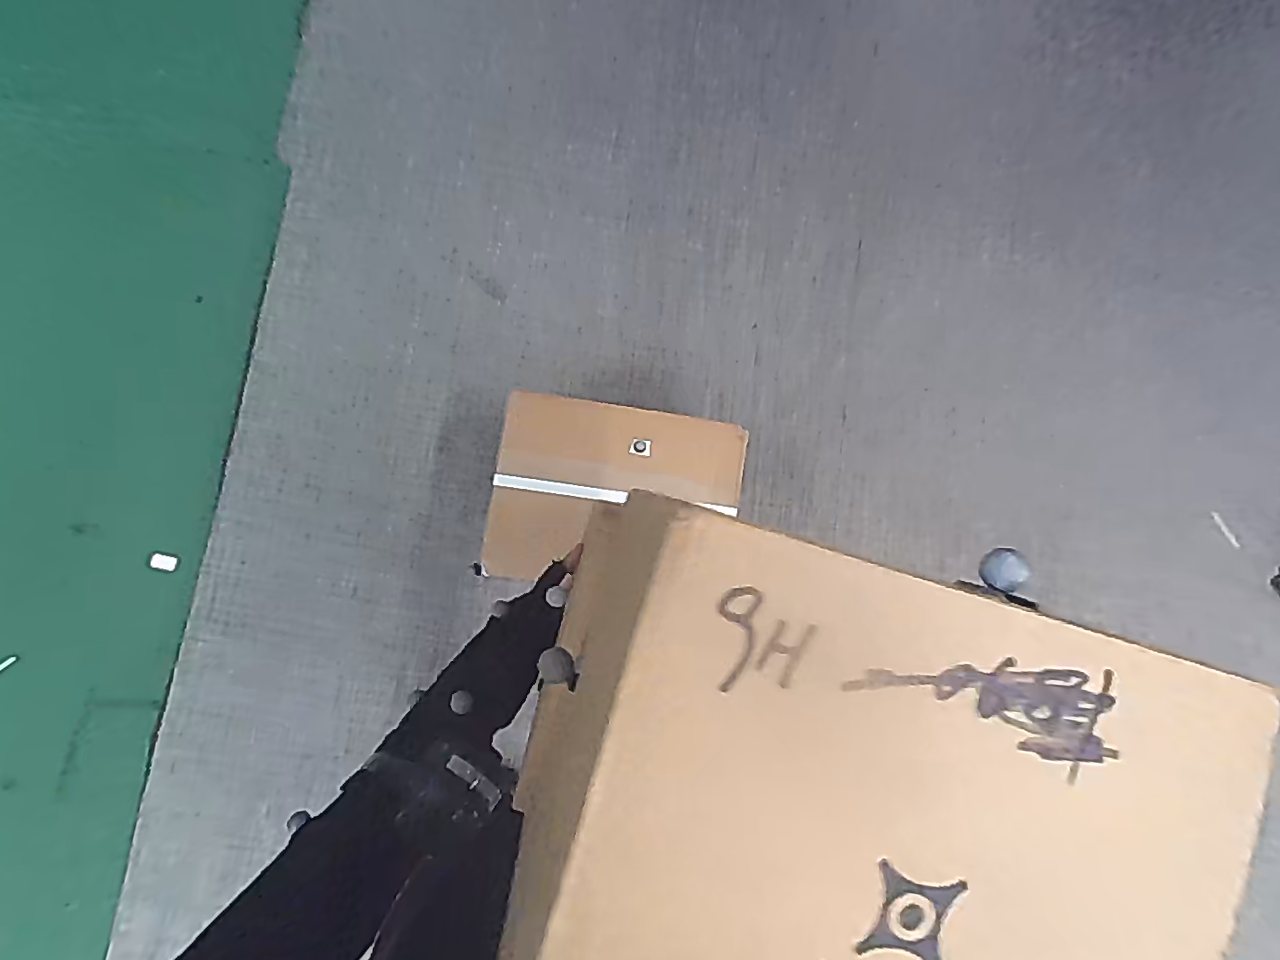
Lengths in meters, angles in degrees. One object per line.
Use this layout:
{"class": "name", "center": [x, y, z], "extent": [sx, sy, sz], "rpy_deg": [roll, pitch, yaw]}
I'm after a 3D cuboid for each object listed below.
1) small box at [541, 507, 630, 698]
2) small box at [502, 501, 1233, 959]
{"class": "small box", "center": [0.013, 0.129, 0.546], "extent": [0.179, 0.176, 0.168], "rpy_deg": [18, 89, -6]}
{"class": "small box", "center": [0.052, 0.116, 0.220], "extent": [0.168, 0.176, 0.179], "rpy_deg": [18, 89, -5]}
